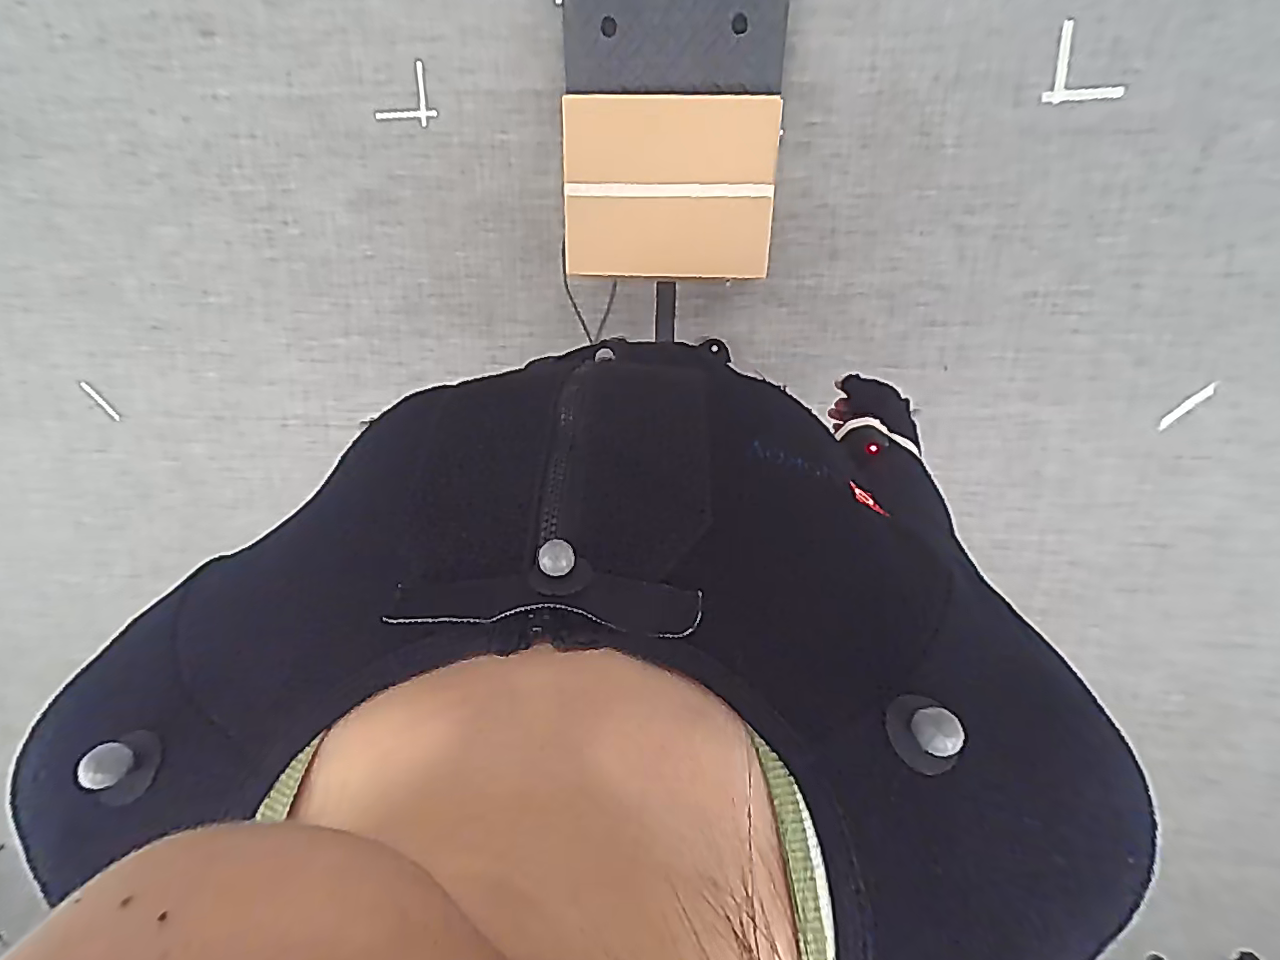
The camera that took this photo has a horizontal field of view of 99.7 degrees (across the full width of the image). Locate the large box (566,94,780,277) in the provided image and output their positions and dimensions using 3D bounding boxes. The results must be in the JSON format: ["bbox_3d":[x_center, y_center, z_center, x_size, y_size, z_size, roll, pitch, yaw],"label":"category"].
[{"bbox_3d":[0.071,-0.611,1.184,0.408,0.320,0.320,2,108,4],"label":"large box"}]

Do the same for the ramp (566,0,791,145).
[{"bbox_3d":[0.081,-1.195,1.096,0.509,0.206,0.991,0,105,3],"label":"ramp"}]
